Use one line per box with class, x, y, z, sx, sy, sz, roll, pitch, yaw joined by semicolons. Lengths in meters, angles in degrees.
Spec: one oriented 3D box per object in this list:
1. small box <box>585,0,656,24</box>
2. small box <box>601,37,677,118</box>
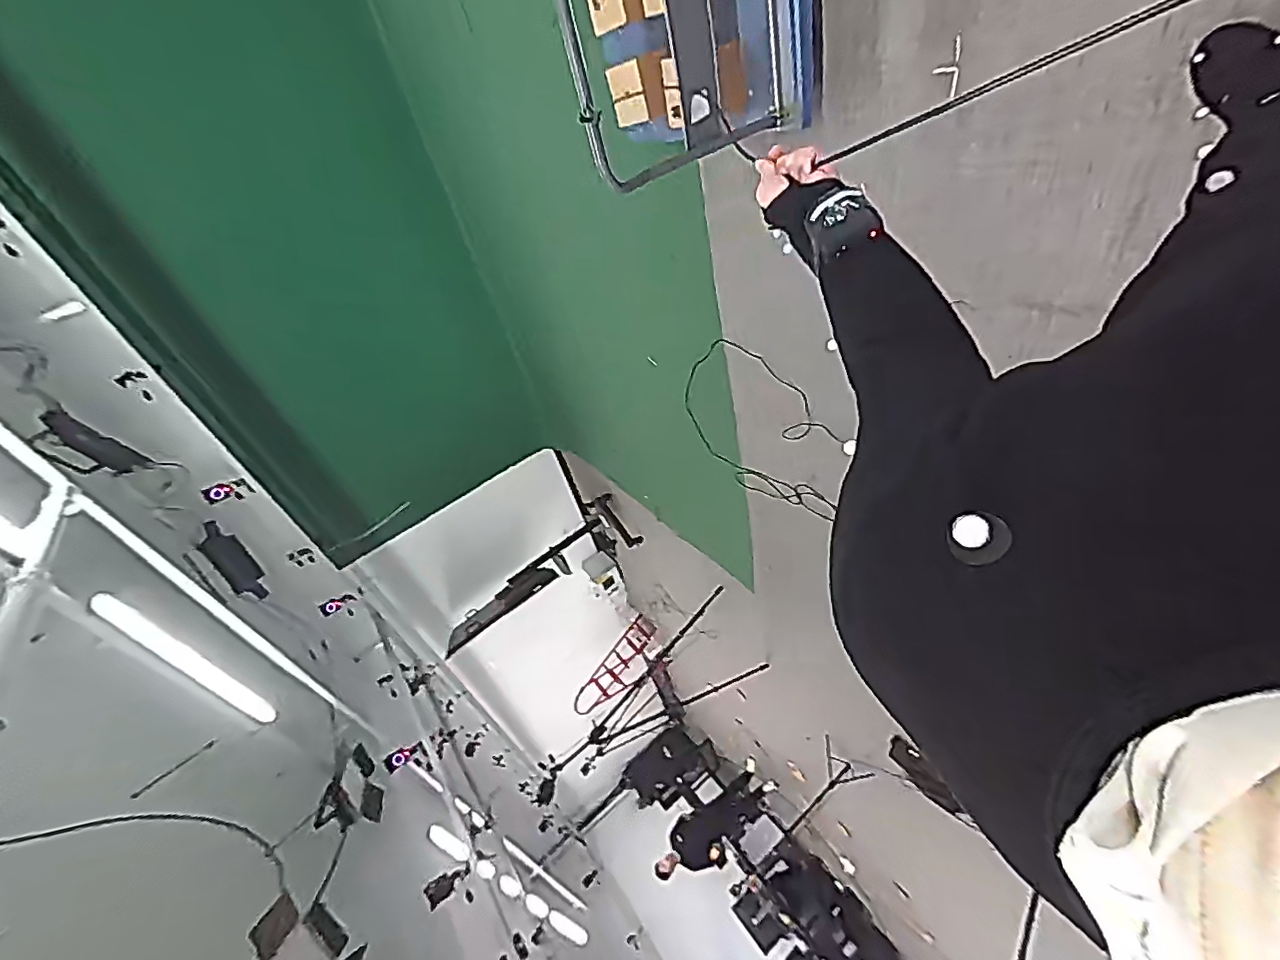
small box;-0.063;-1.504;1.617;0.179;0.176;0.168;30;149;46
small box;0.005;-1.312;1.764;0.179;0.176;0.168;32;148;47
